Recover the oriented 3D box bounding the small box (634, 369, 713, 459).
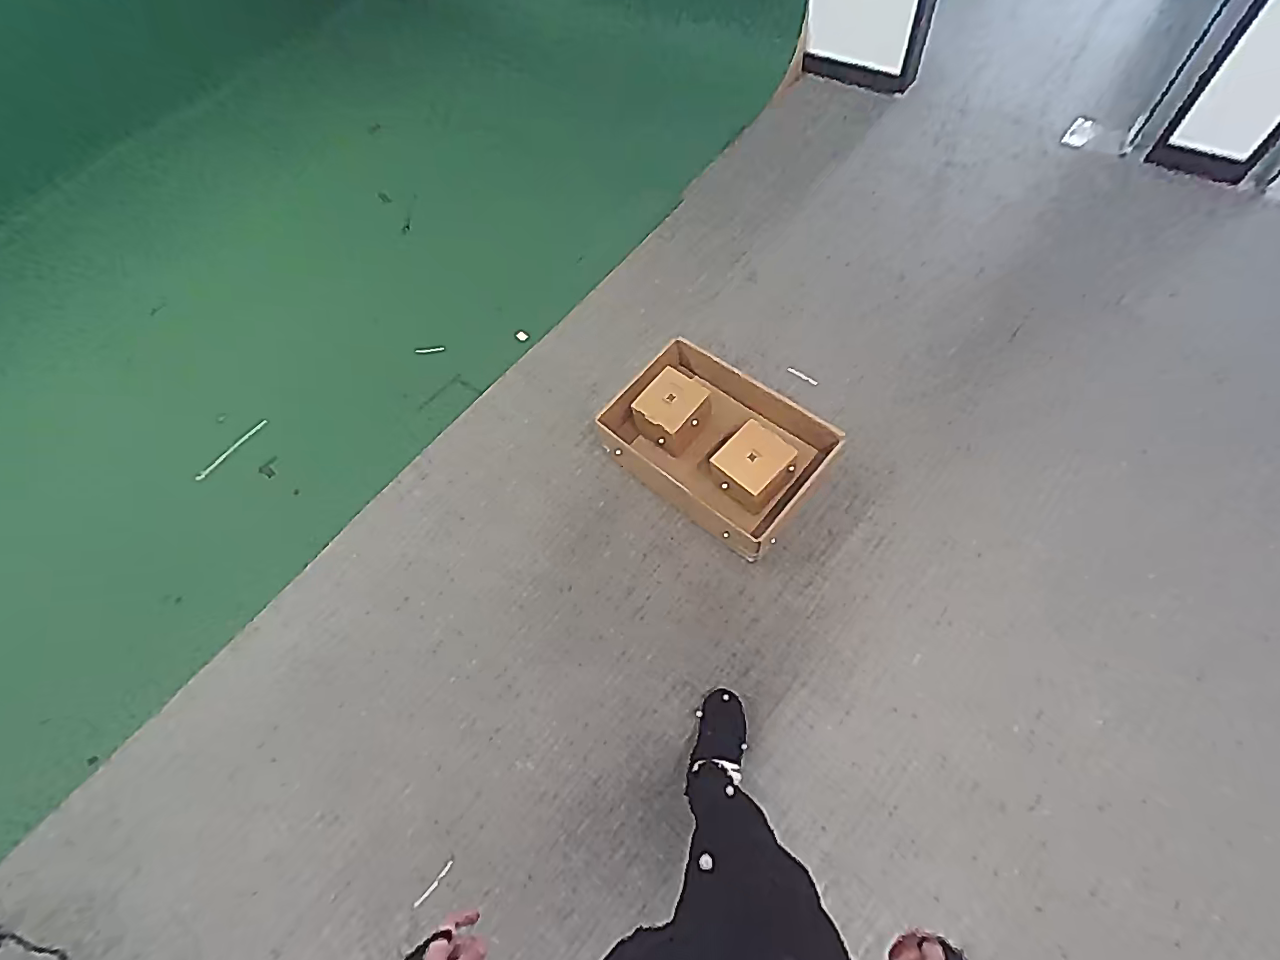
[{"bbox_3d":[0.111,-0.193,1.640,0.168,0.176,0.179,37,76,22],"label":"small box"}]

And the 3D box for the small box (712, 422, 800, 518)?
[{"bbox_3d":[0.326,-0.022,1.517,0.179,0.176,0.168,-44,64,-11],"label":"small box"}]
